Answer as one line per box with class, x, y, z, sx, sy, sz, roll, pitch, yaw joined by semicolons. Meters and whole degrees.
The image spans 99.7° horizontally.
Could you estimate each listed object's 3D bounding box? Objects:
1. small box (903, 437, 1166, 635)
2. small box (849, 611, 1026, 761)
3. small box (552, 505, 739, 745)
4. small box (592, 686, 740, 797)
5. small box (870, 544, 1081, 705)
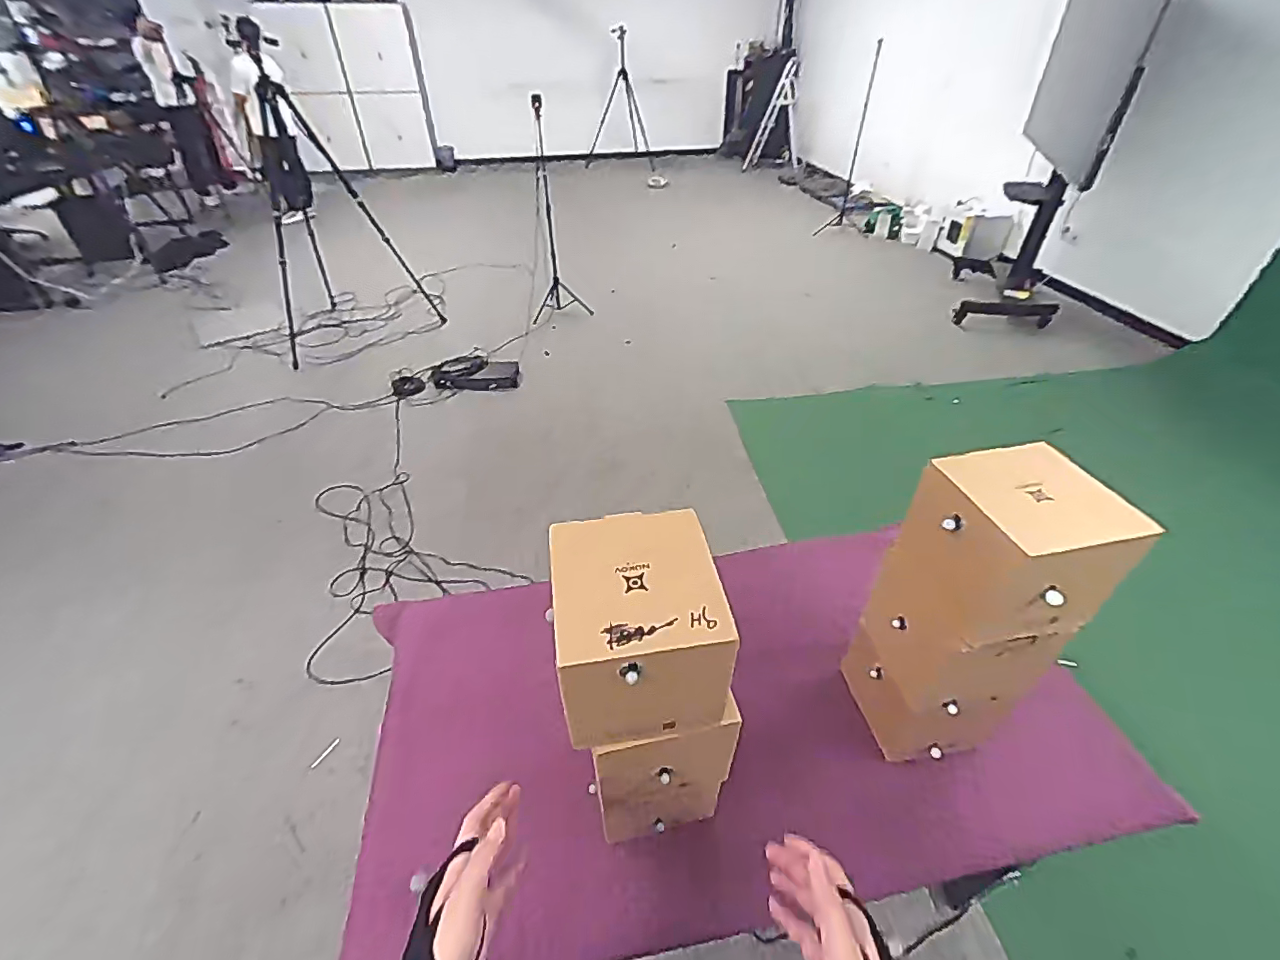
small box;0.464;0.073;0.672;0.168;0.176;0.179;-9;39;-7
small box;0.463;0.323;0.880;0.168;0.176;0.179;-7;40;-5
small box;-0.003;0.153;0.585;0.168;0.176;0.179;-7;41;-6
small box;0.016;0.278;0.690;0.168;0.176;0.179;-8;41;-9
small box;0.458;0.200;0.773;0.168;0.176;0.179;-8;39;-5
